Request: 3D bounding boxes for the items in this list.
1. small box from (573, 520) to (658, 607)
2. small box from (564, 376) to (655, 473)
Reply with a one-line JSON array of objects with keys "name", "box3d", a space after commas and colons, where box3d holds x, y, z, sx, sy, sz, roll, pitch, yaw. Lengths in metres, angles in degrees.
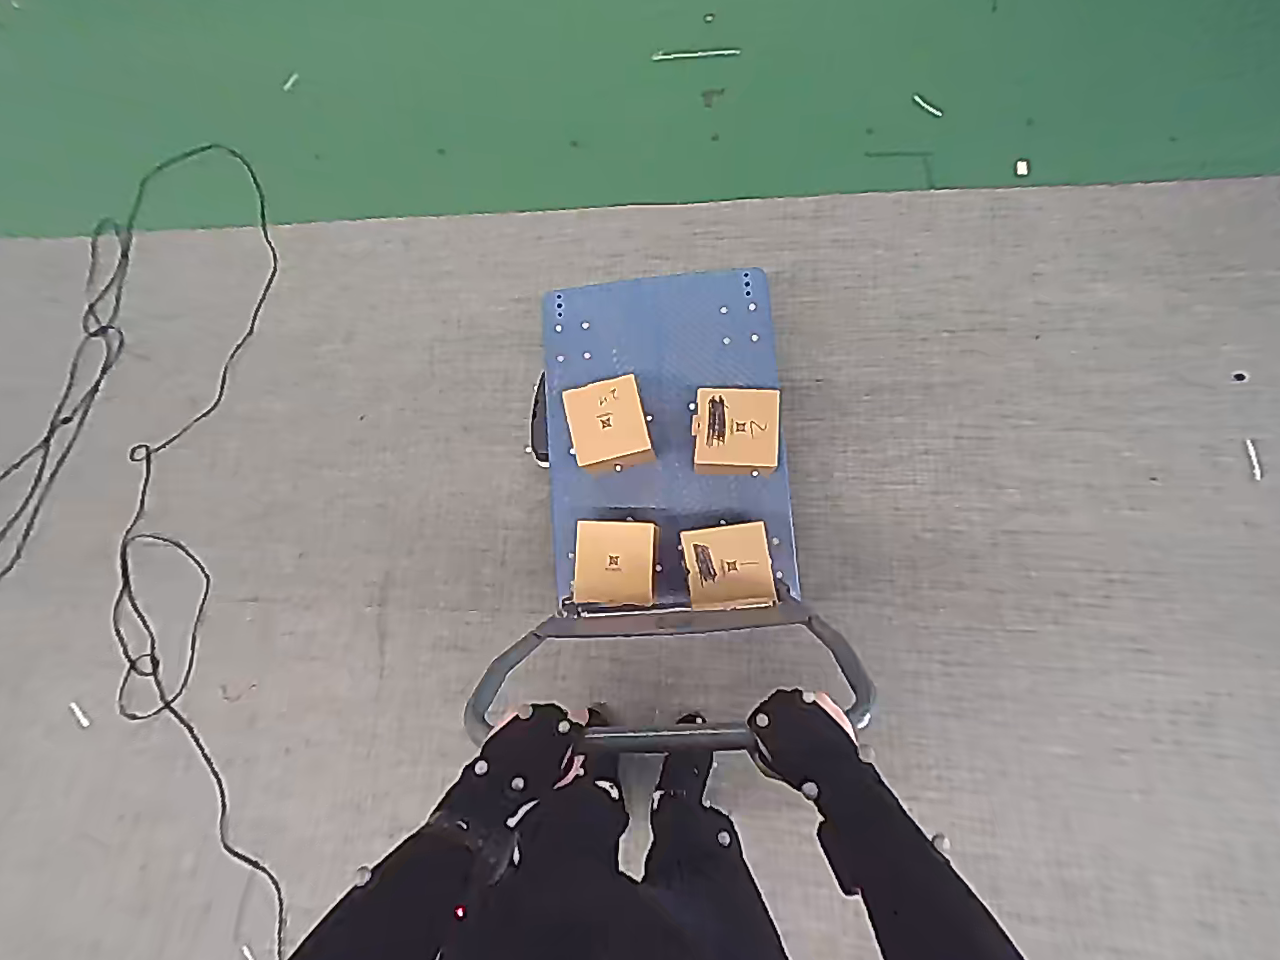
[{"name": "small box", "box3d": [-0.048, 0.184, 1.214, 0.168, 0.176, 0.179, 2, 84, 5]}, {"name": "small box", "box3d": [-0.065, -0.119, 1.251, 0.168, 0.176, 0.179, -13, 82, 3]}]
